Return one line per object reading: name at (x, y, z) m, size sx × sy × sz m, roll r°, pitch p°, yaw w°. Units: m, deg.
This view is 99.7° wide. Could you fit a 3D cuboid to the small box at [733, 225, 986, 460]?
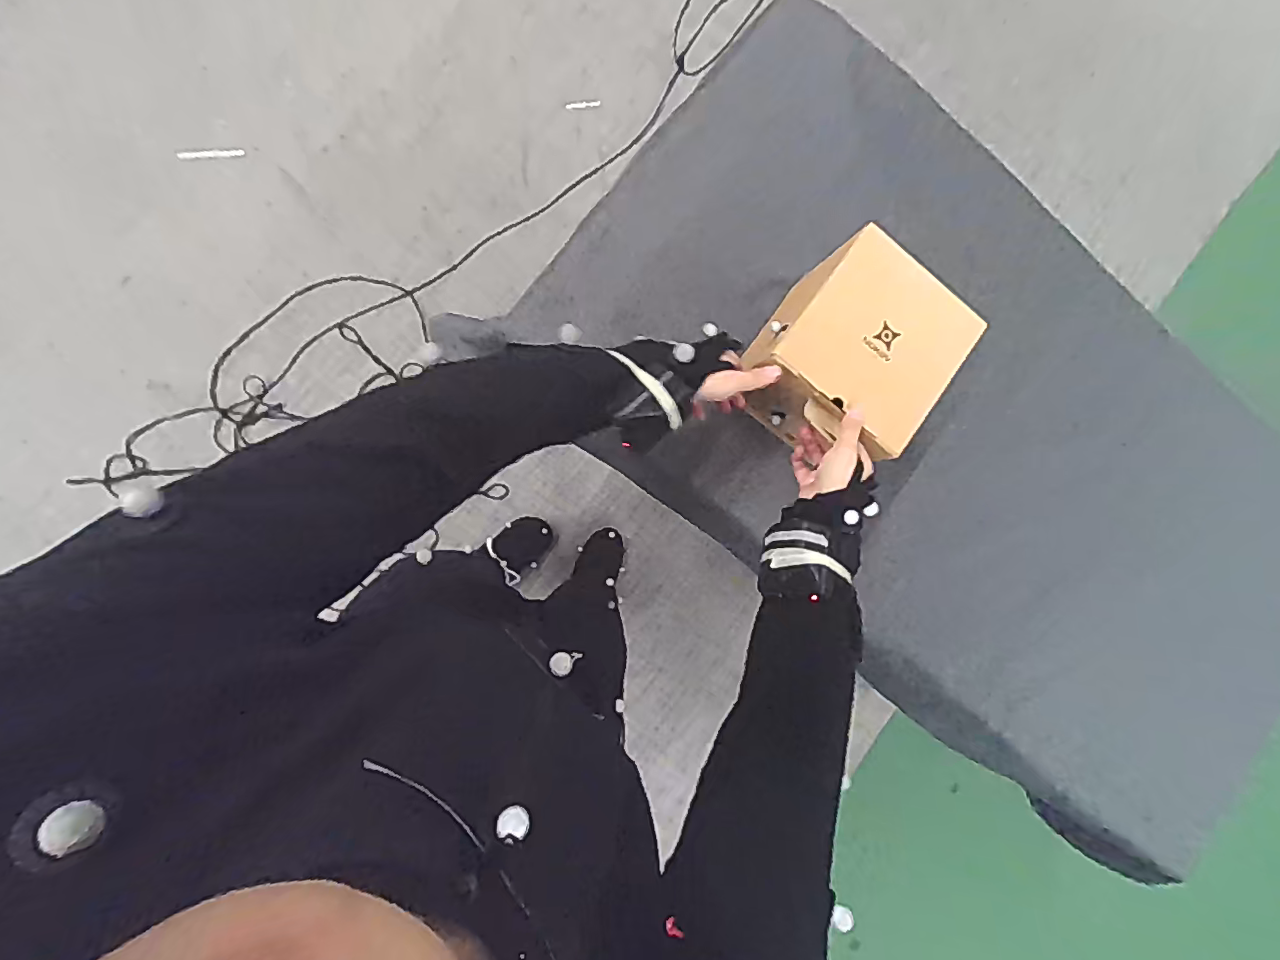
small box at (0.234, -0.140, 0.620) m, size 0.168 × 0.176 × 0.179 m, roll 37°, pitch 84°, yaw -8°
